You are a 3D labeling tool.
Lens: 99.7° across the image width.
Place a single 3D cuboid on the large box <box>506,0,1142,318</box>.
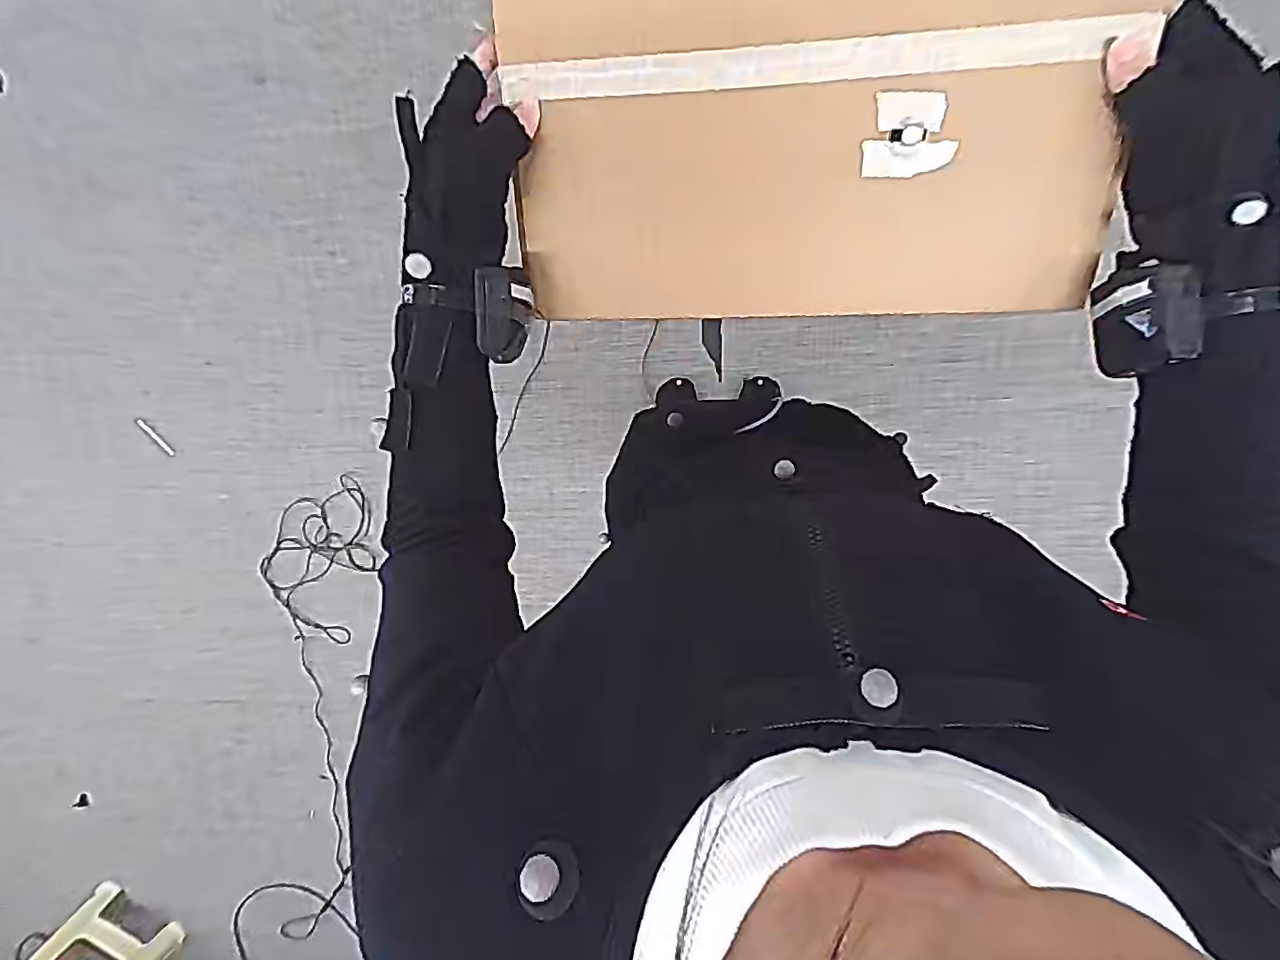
[{"bbox_3d":[0.123,-0.332,0.495,0.408,0.320,0.320,0,114,6],"label":"large box"}]
